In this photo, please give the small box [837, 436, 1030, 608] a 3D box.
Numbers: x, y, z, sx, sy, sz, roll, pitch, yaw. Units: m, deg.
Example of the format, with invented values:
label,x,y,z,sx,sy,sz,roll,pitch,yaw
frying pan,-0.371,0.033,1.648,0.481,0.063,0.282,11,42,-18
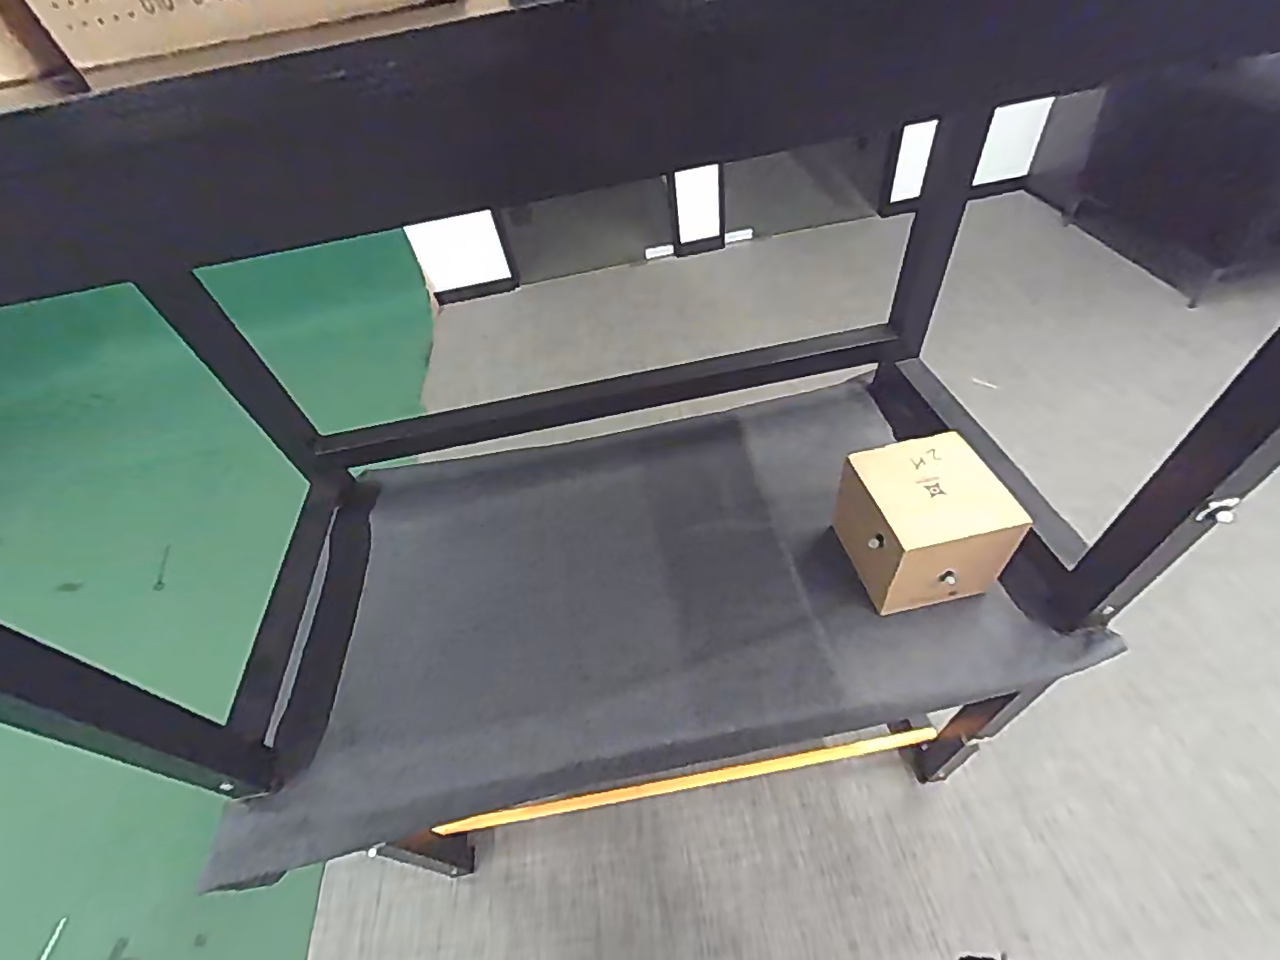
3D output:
label,x,y,z,sx,sy,sz,roll,pitch,yaw
small box,0.404,0.068,0.784,0.168,0.176,0.179,-12,46,-1
